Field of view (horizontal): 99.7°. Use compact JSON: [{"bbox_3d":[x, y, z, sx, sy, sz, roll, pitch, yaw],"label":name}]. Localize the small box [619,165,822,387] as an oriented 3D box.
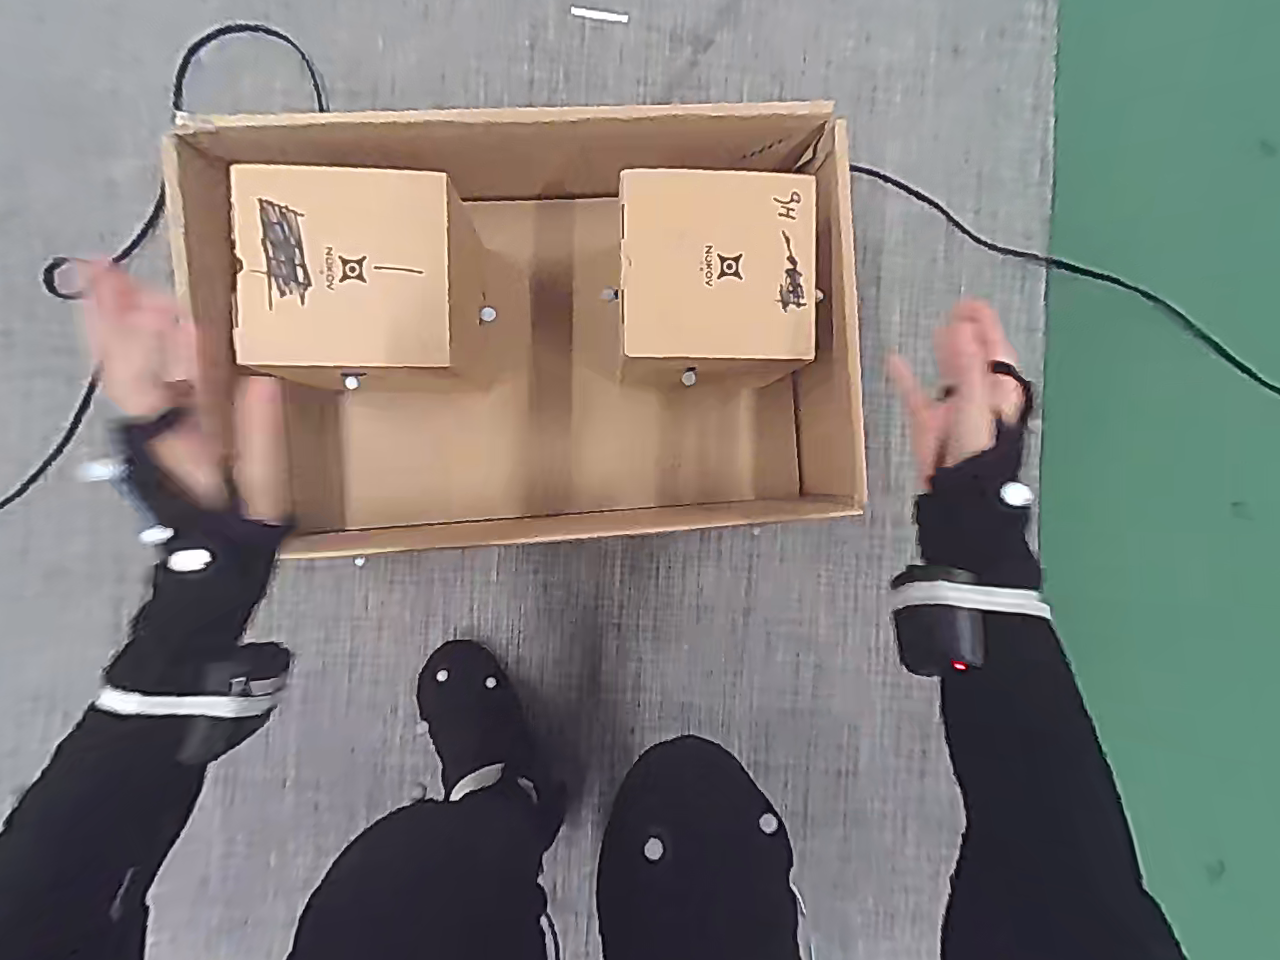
[{"bbox_3d":[0.069,-0.192,0.556,0.179,0.176,0.168,2,91,-4],"label":"small box"}]
